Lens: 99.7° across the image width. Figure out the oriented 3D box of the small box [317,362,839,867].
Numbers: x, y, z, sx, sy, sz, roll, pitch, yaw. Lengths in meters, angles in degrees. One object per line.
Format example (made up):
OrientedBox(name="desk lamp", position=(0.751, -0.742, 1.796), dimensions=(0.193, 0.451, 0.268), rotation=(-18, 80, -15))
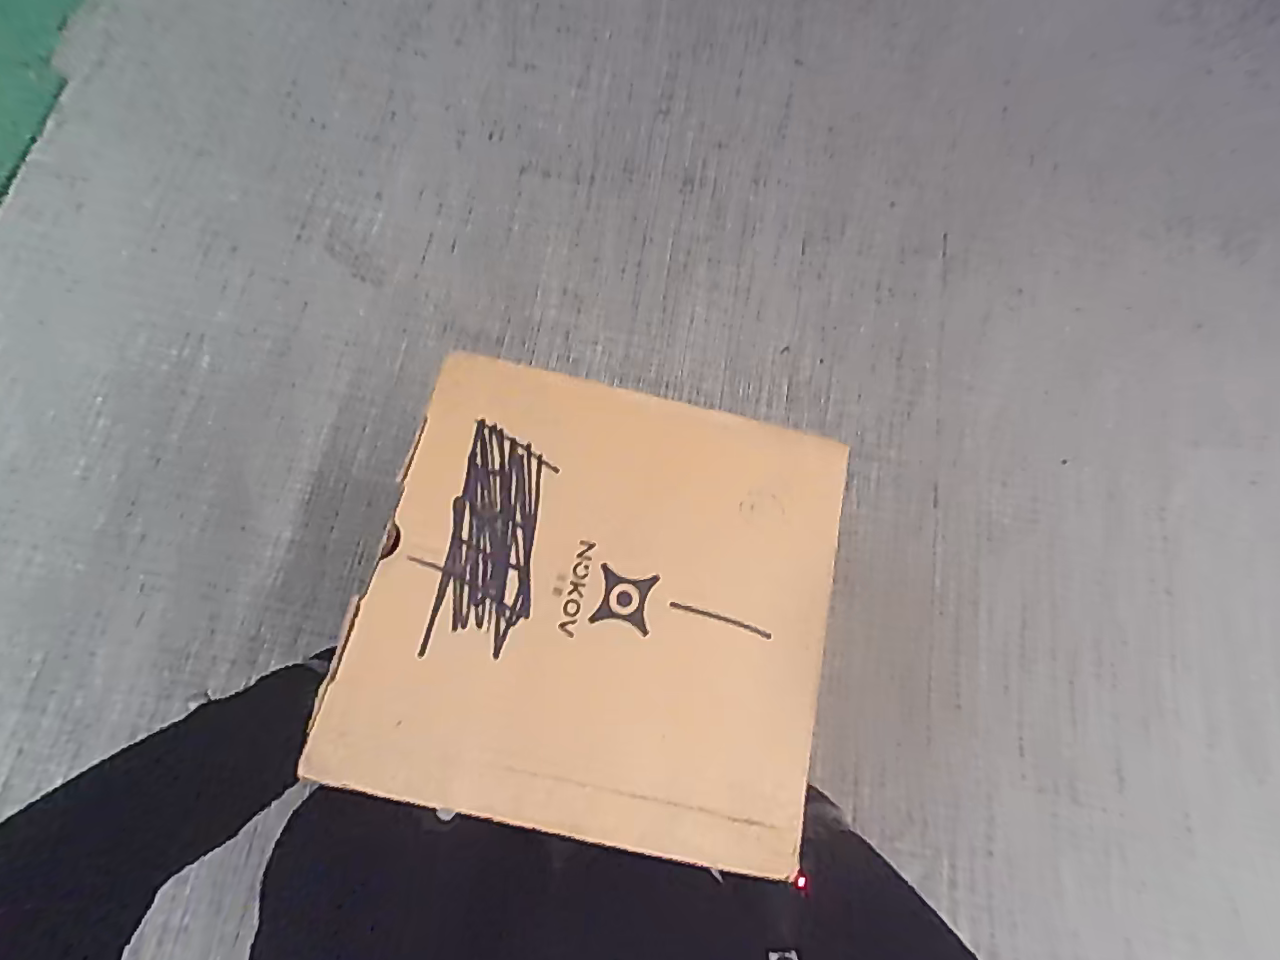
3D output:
OrientedBox(name="small box", position=(-0.020, 0.064, 0.291), dimensions=(0.179, 0.176, 0.168), rotation=(14, 75, -1))
